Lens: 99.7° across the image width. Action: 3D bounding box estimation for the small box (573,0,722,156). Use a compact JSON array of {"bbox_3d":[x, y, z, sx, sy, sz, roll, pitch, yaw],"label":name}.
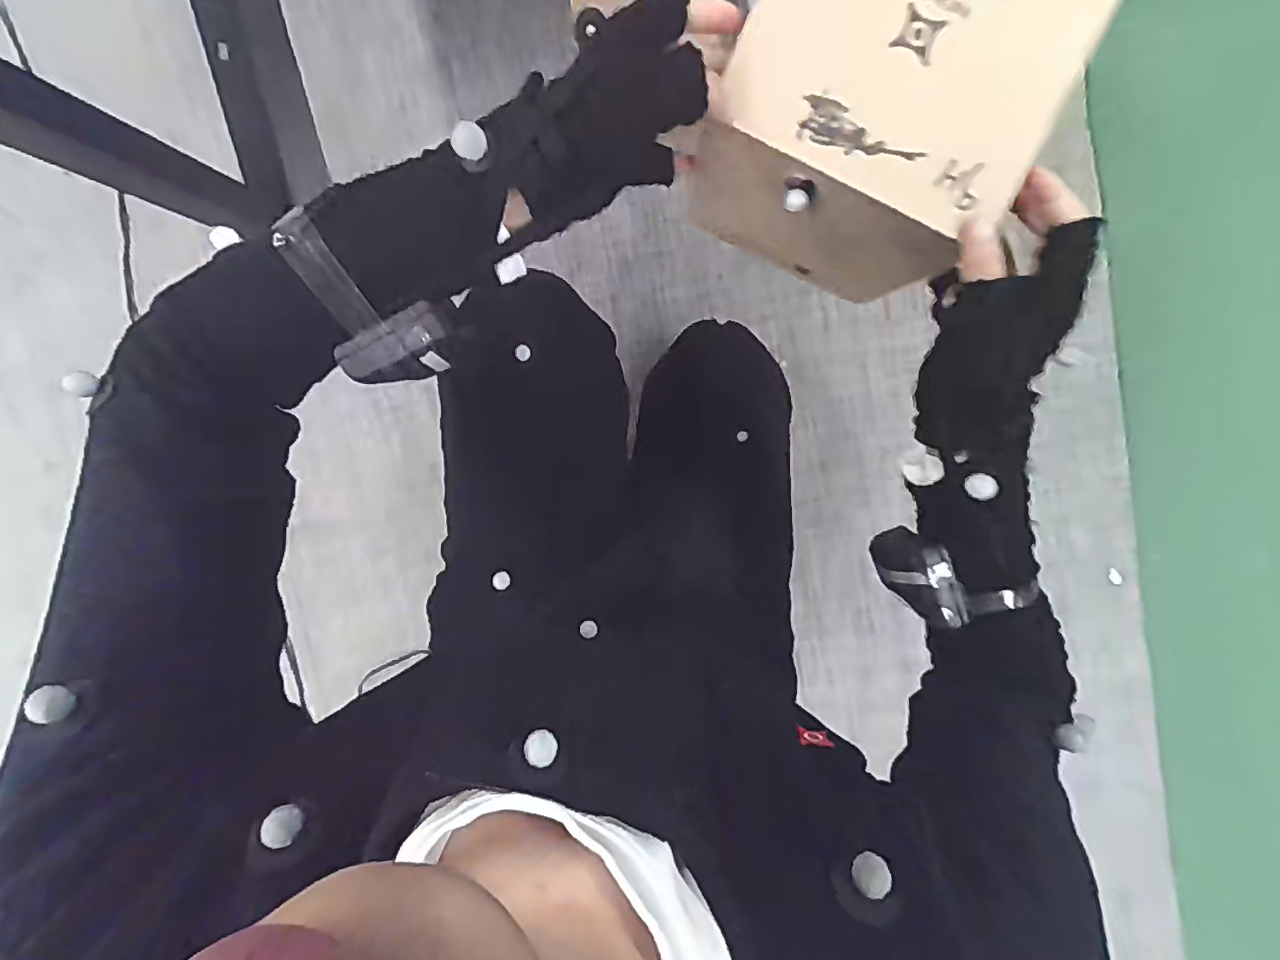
[{"bbox_3d":[0.014,-0.558,0.710,0.168,0.176,0.179,-9,95,7],"label":"small box"}]
